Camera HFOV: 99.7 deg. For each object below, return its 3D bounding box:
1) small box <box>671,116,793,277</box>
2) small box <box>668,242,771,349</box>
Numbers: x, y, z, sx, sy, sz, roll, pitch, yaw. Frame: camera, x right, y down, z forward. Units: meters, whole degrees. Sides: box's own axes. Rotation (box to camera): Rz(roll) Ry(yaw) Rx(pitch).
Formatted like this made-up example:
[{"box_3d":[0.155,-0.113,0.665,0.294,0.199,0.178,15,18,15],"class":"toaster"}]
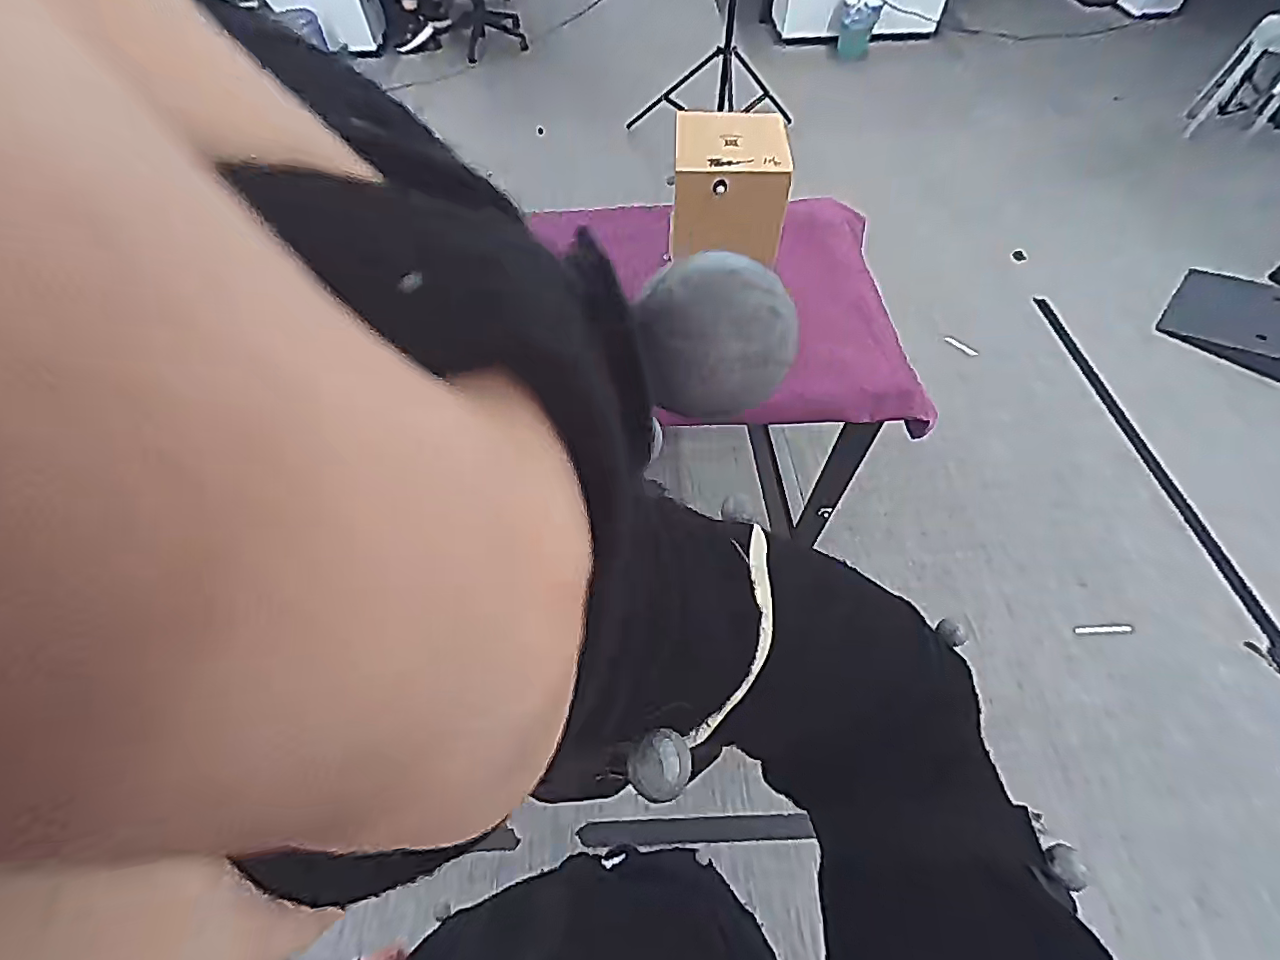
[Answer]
[{"box_3d":[0.135,-0.451,0.863,0.168,0.176,0.179,1,56,2],"class":"small box"},{"box_3d":[0.137,-0.366,1.003,0.168,0.176,0.179,-1,58,1],"class":"small box"}]
